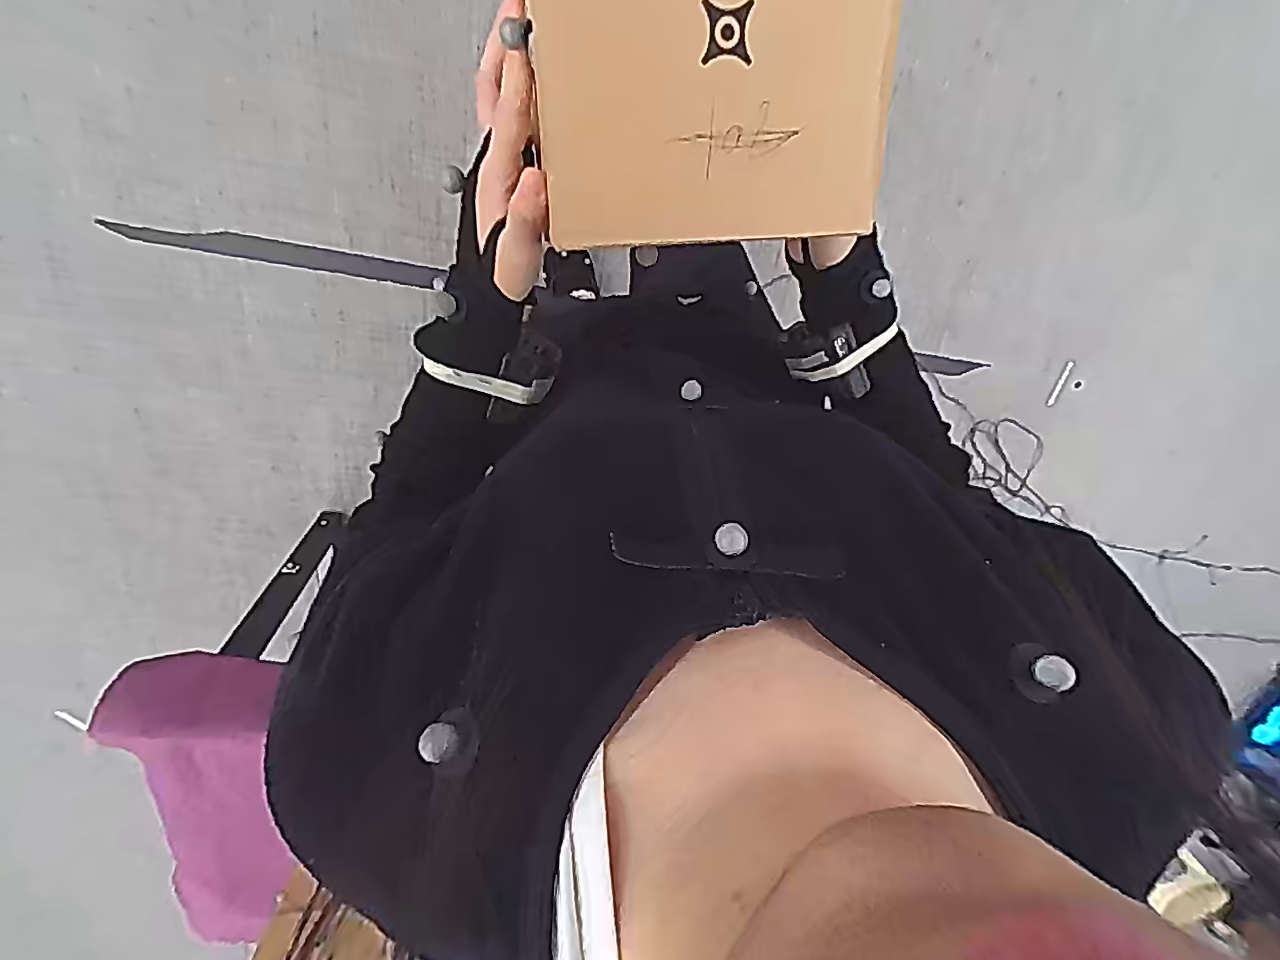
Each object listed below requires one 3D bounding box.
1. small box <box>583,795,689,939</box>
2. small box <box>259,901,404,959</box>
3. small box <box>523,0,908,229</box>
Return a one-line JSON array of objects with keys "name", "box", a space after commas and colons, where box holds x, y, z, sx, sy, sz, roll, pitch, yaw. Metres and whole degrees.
[{"name": "small box", "box": [-0.018, 0.736, 1.043, 0.168, 0.176, 0.179, 5, 116, -11]}, {"name": "small box", "box": [-0.468, 0.763, 0.798, 0.179, 0.176, 0.168, 1, 117, -10]}, {"name": "small box", "box": [0.024, -0.238, 0.300, 0.168, 0.176, 0.179, -6, 116, -9]}]
